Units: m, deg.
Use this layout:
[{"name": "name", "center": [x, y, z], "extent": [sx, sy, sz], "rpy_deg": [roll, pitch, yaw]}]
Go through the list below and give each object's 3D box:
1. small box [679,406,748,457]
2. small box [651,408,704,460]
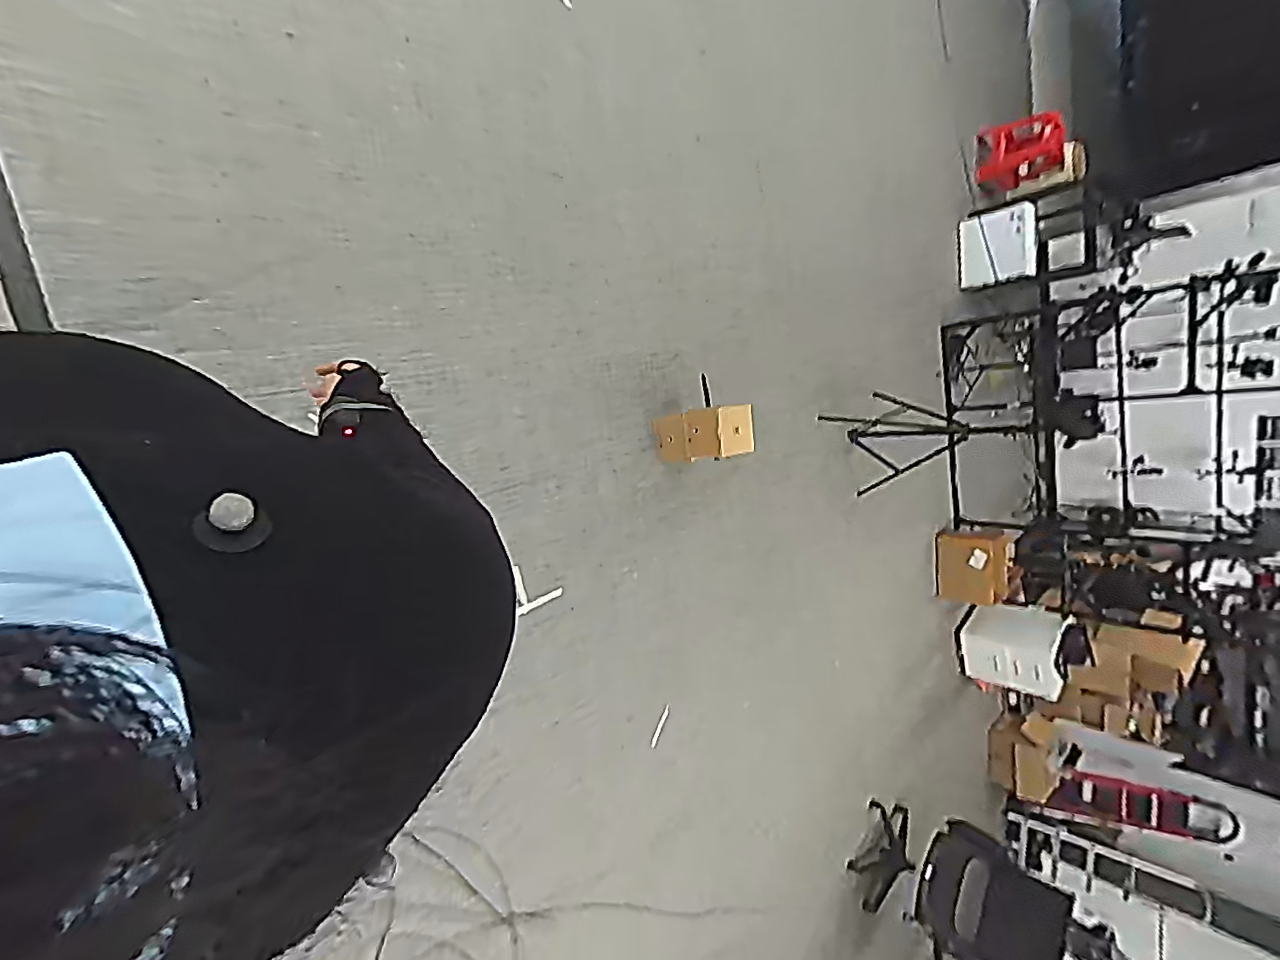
[{"name": "small box", "center": [0.261, -0.173, 1.919], "extent": [0.179, 0.176, 0.168], "rpy_deg": [-12, 99, -39]}, {"name": "small box", "center": [0.159, -0.172, 2.047], "extent": [0.179, 0.176, 0.168], "rpy_deg": [-21, 105, -39]}]
